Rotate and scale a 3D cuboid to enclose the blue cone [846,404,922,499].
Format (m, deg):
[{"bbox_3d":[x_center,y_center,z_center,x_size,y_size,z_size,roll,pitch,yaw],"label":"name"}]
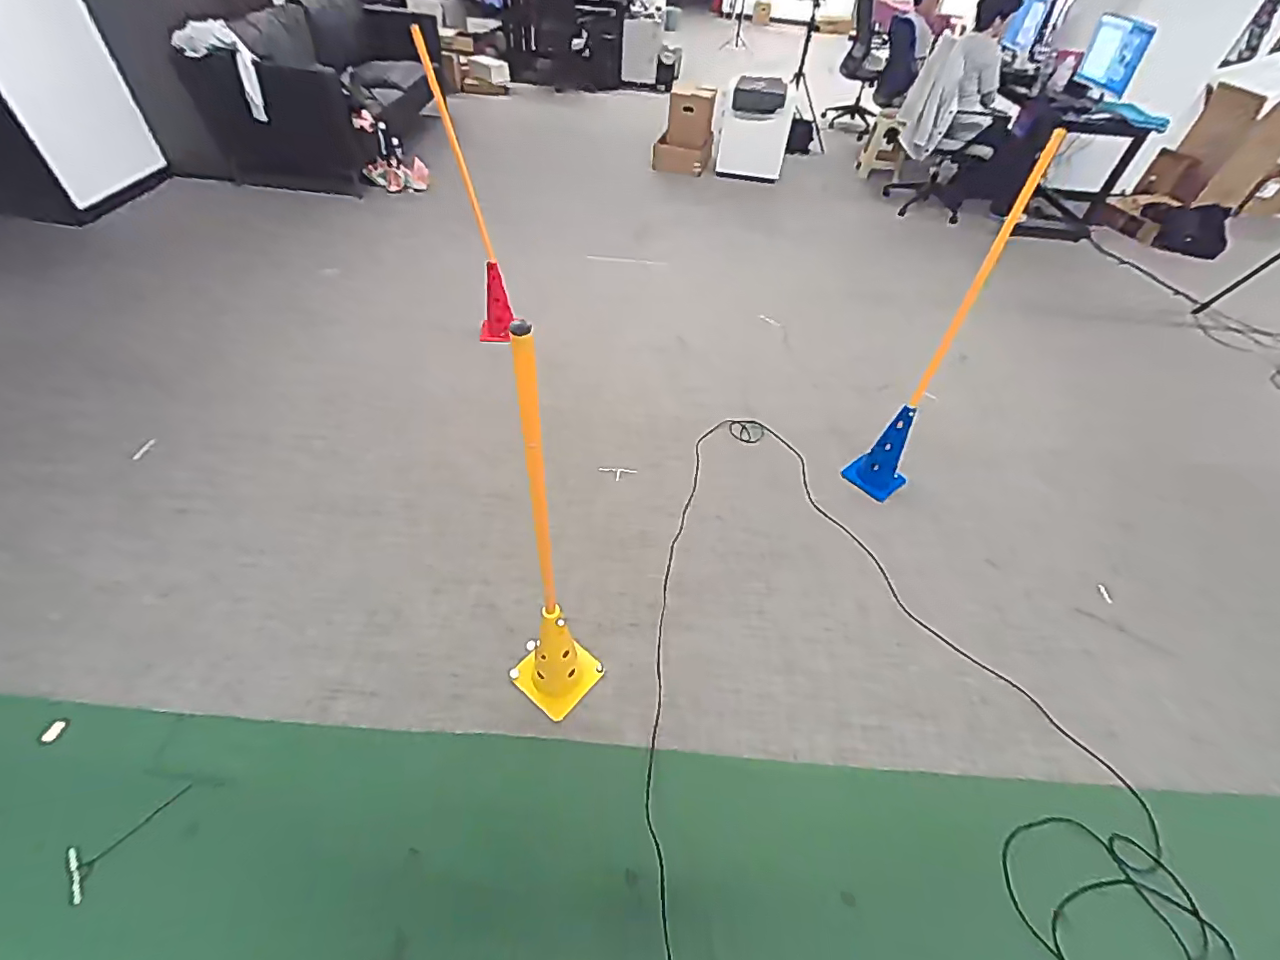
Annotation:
[{"bbox_3d":[0.945,-0.130,2.027,0.193,0.380,0.192,-30,56,-32],"label":"blue cone"}]
